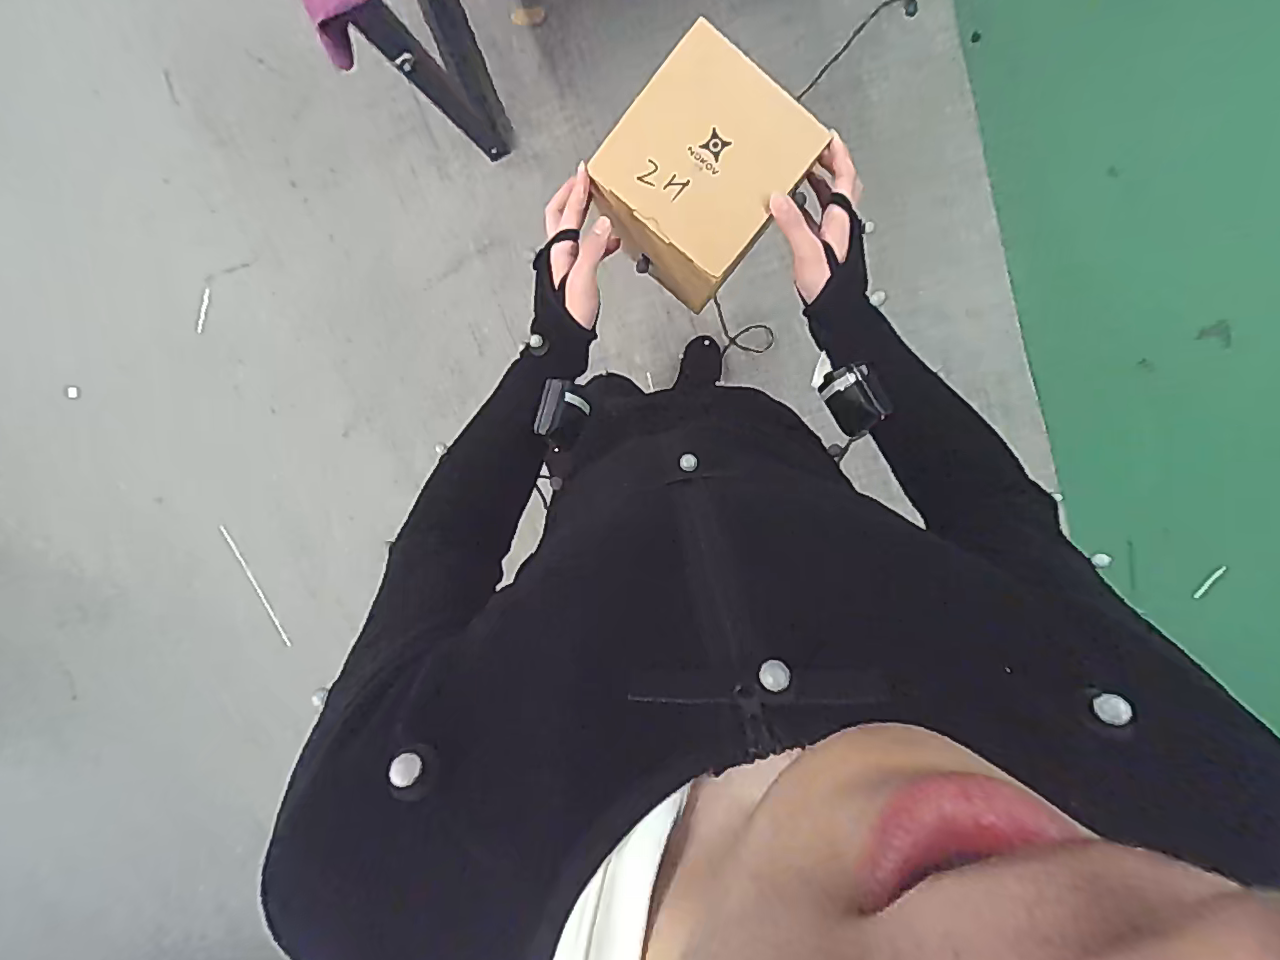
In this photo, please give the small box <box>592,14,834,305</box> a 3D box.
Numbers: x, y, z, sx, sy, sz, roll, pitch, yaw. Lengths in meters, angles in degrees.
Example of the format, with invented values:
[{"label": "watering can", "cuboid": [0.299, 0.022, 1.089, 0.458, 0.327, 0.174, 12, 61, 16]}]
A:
[{"label": "small box", "cuboid": [0.067, -0.322, 0.587, 0.168, 0.176, 0.179, 40, 95, -4]}]
